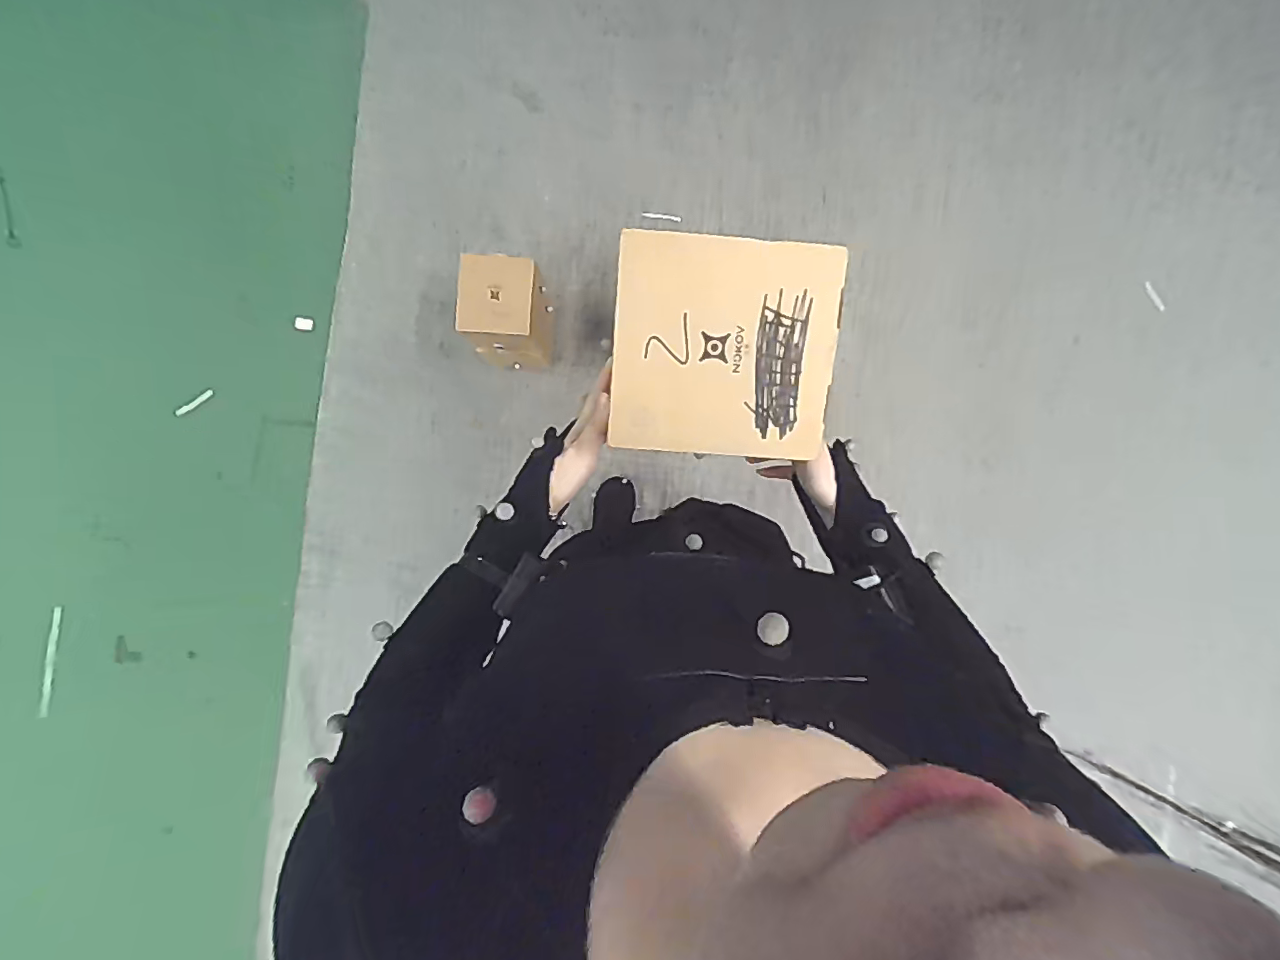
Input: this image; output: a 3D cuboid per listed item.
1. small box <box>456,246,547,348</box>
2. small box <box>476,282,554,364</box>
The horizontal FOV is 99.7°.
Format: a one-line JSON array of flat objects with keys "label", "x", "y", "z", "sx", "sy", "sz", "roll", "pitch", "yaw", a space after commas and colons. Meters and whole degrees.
[{"label": "small box", "x": -0.312, "y": -0.416, "z": 1.249, "sx": 0.168, "sy": 0.176, "sz": 0.179, "roll": 3, "pitch": 90, "yaw": 0}, {"label": "small box", "x": -0.320, "y": -0.411, "z": 1.411, "sx": 0.168, "sy": 0.176, "sz": 0.179, "roll": 3, "pitch": 90, "yaw": -1}]
